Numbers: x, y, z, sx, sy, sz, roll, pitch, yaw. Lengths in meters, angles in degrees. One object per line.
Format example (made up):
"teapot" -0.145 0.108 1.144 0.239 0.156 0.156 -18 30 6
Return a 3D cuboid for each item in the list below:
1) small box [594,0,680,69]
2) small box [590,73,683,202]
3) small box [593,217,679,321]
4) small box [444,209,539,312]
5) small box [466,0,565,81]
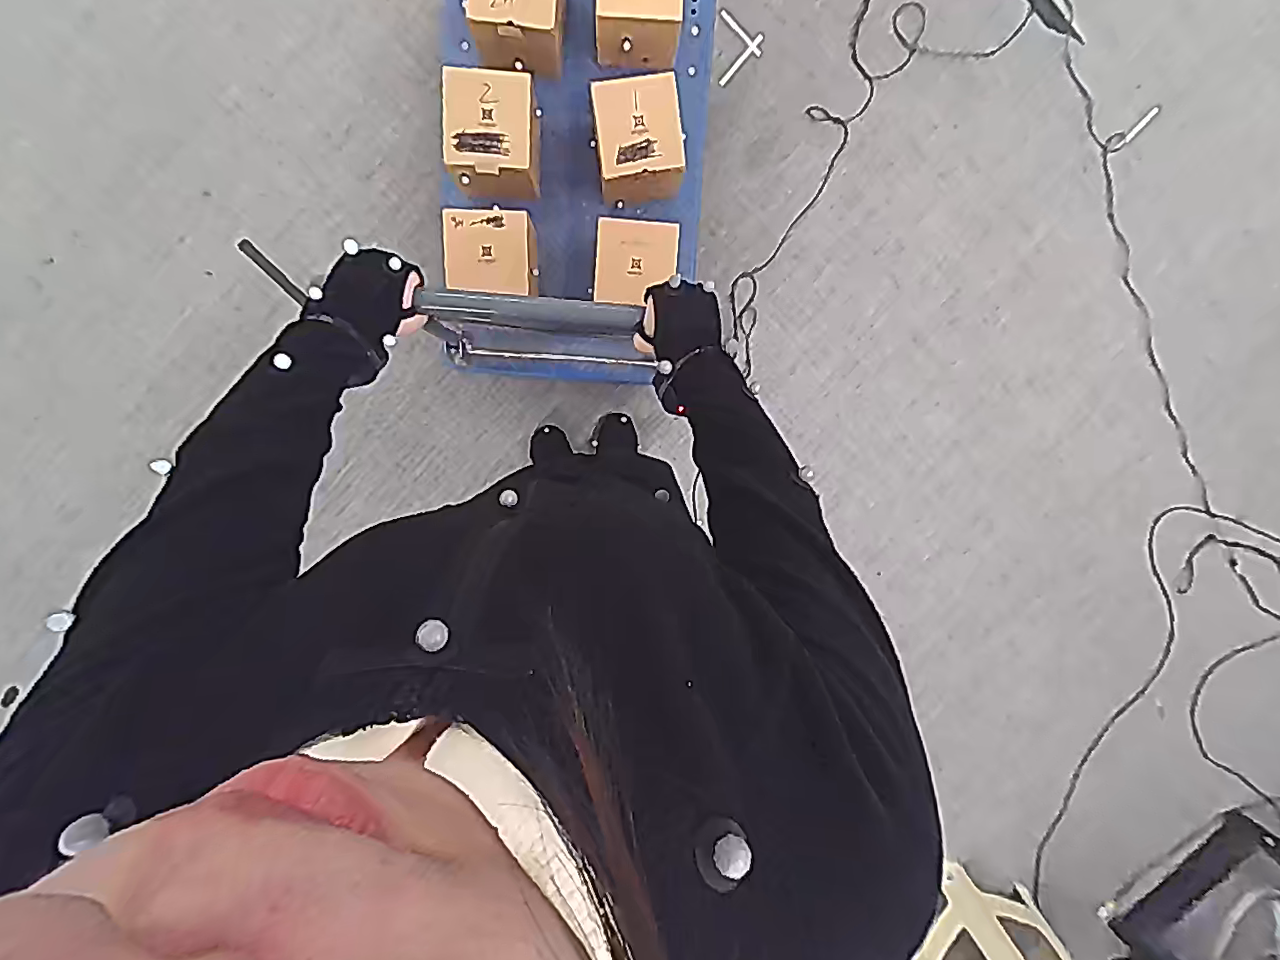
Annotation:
"small box" -0.007 -0.971 1.089 0.168 0.176 0.179 0 99 -3
"small box" -0.008 -0.702 1.131 0.168 0.176 0.179 -8 98 -2
"small box" -0.012 -0.447 1.174 0.168 0.176 0.179 4 98 -4
"small box" -0.309 -0.458 1.153 0.168 0.176 0.179 -1 100 -4
"small box" -0.240 -0.947 1.076 0.168 0.176 0.179 5 100 -4
